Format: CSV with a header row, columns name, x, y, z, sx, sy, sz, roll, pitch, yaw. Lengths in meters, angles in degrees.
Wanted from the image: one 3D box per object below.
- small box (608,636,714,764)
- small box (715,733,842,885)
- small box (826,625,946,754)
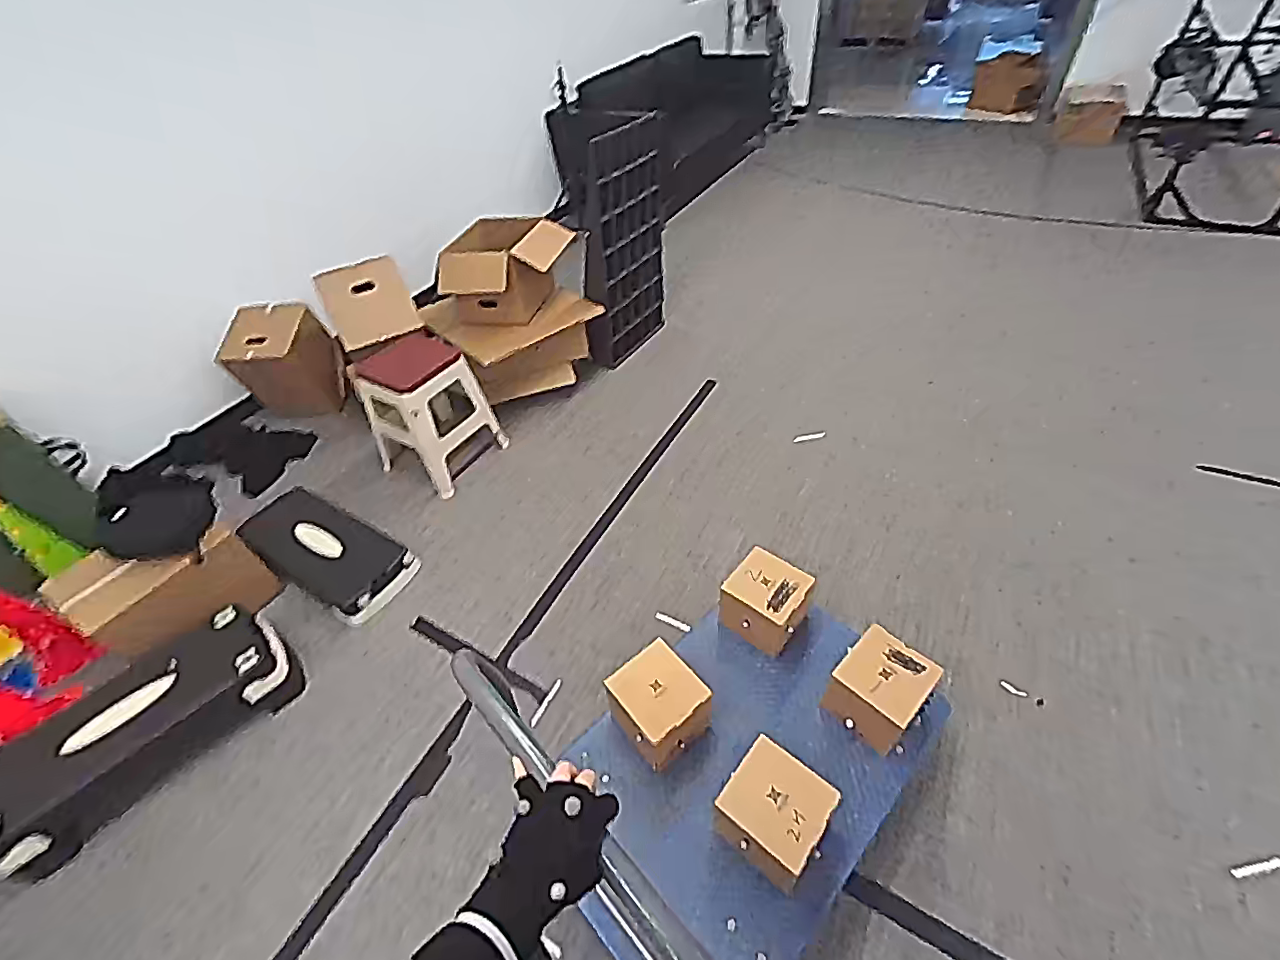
name,x,y,z,sx,sy,sz,roll,pitch,yaw
small box,0.046,0.498,1.219,0.168,0.176,0.179,-32,51,-25
small box,0.260,0.642,1.052,0.179,0.176,0.168,31,55,31
small box,0.537,0.466,1.204,0.179,0.176,0.168,-35,52,-25
